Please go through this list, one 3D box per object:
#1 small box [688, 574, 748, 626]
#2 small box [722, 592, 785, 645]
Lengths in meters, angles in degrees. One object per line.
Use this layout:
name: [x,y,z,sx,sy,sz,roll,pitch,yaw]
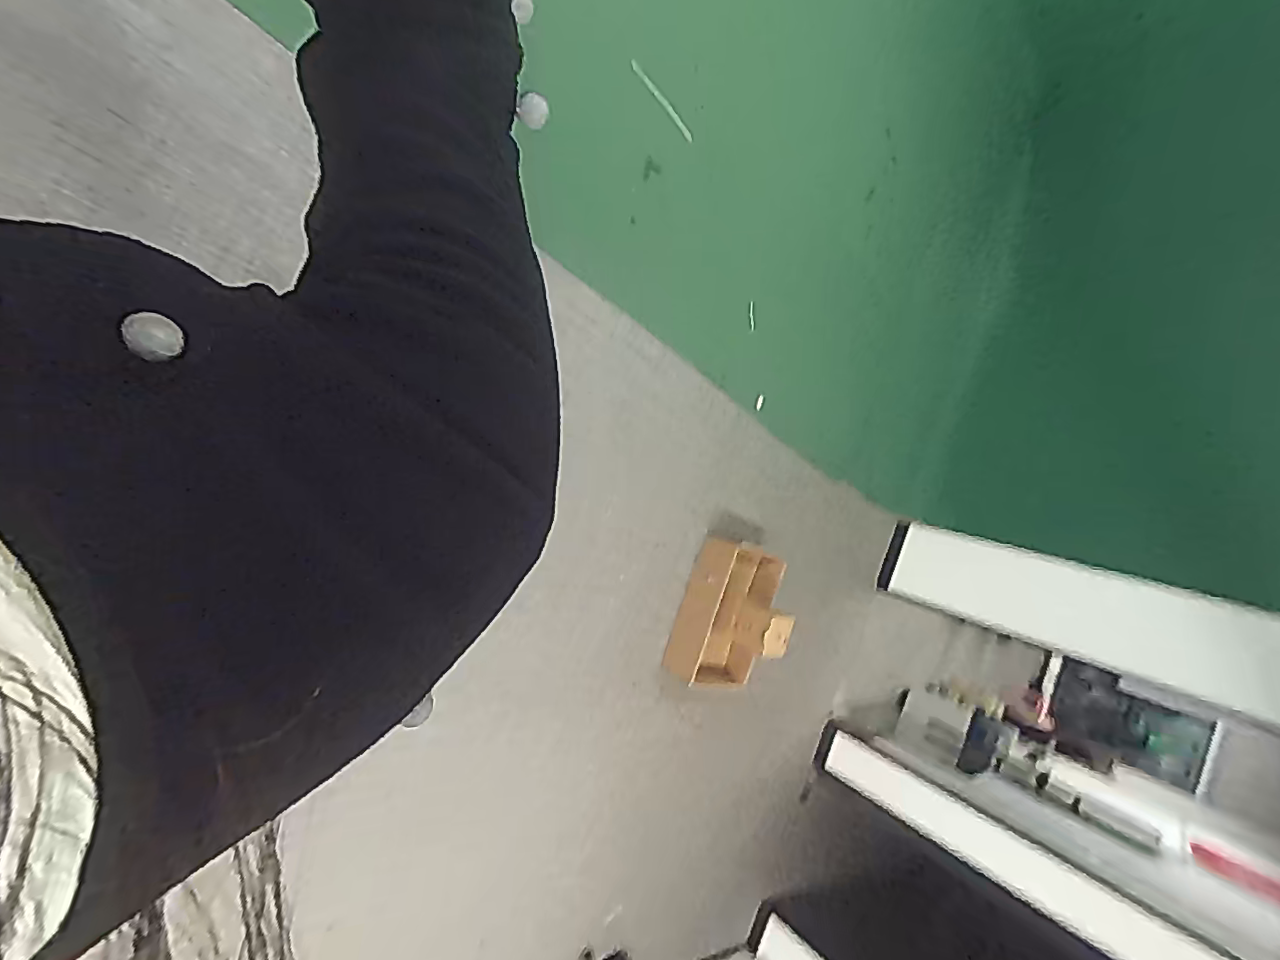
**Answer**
small box: [0.333,0.525,2.347,0.168,0.176,0.179,23,84,-46]
small box: [0.465,0.569,2.233,0.179,0.176,0.168,18,89,-44]
